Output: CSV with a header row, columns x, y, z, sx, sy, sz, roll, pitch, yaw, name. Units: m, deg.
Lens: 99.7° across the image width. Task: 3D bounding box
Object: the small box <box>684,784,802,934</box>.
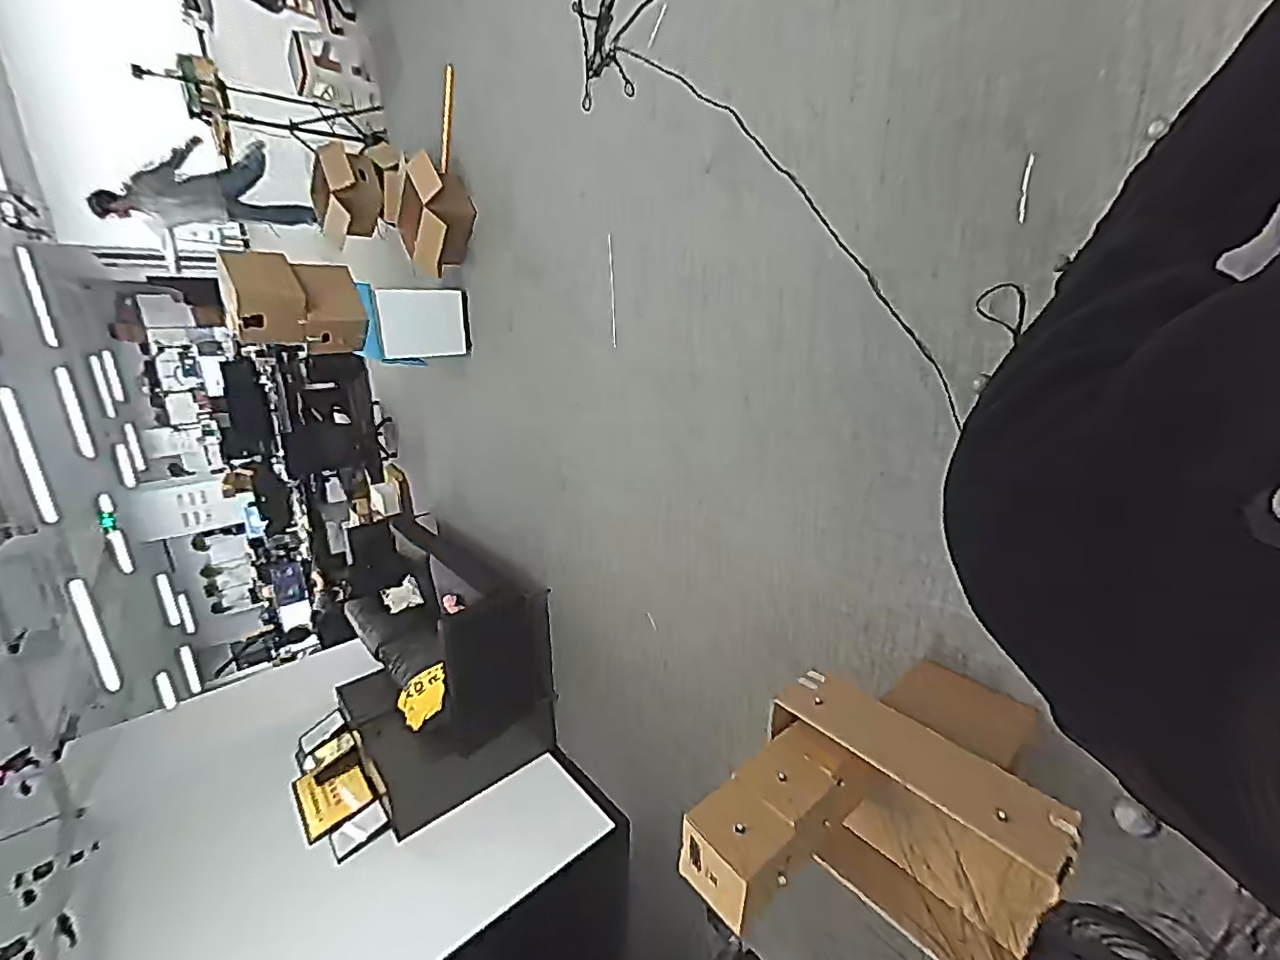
x,y,z,sx,sy,sz,roll,pitch,yaw,name
0.219,0.795,1.162,0.179,0.176,0.168,24,120,45,small box
